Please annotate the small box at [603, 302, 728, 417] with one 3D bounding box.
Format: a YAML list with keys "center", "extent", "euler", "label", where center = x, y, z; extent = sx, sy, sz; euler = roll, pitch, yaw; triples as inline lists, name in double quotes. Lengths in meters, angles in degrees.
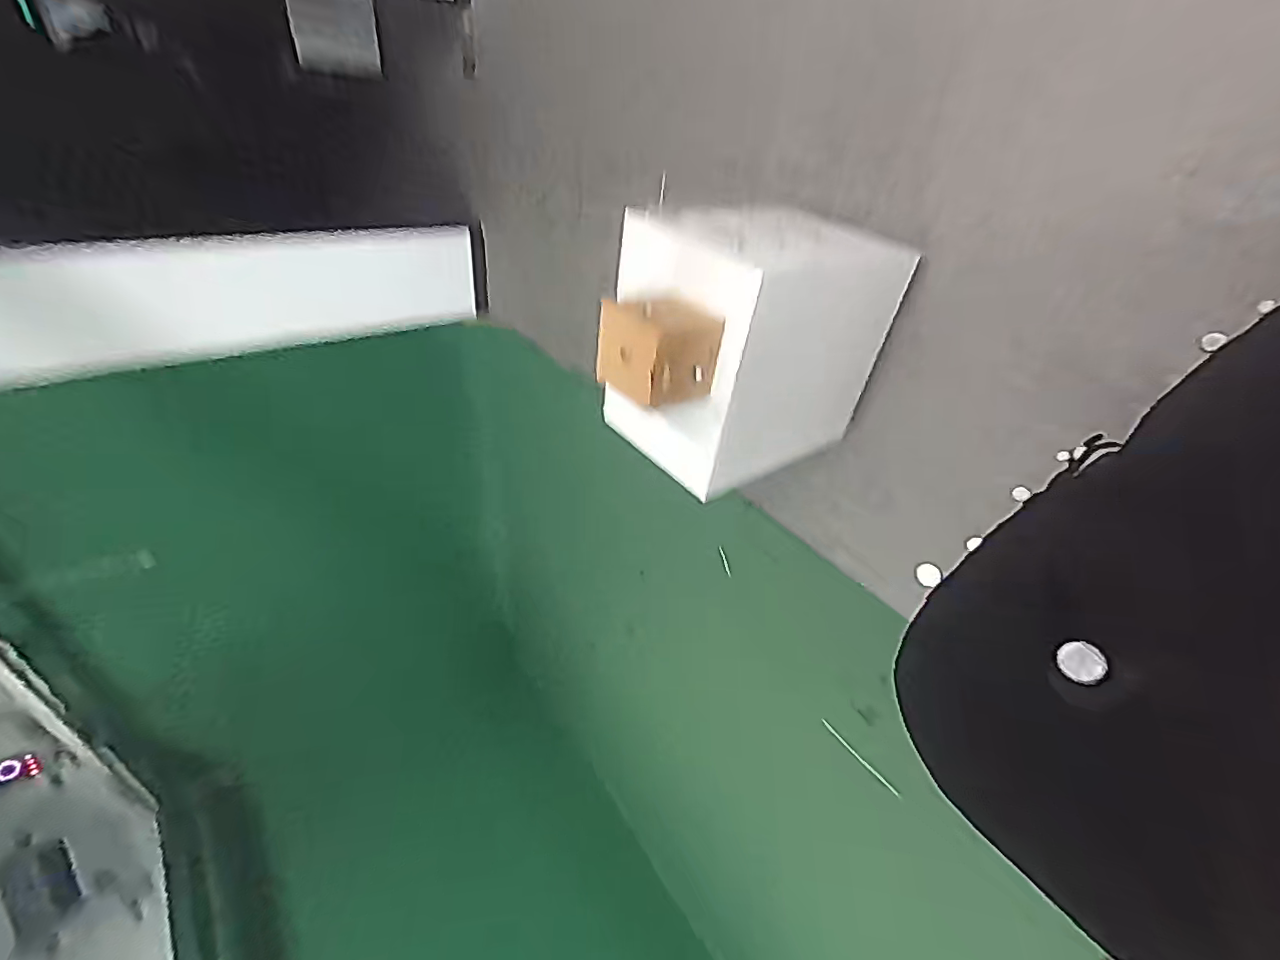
- center: [0.047, -0.250, 1.084]
  extent: [0.179, 0.176, 0.168]
  euler: [40, 137, 36]
  label: "small box"
